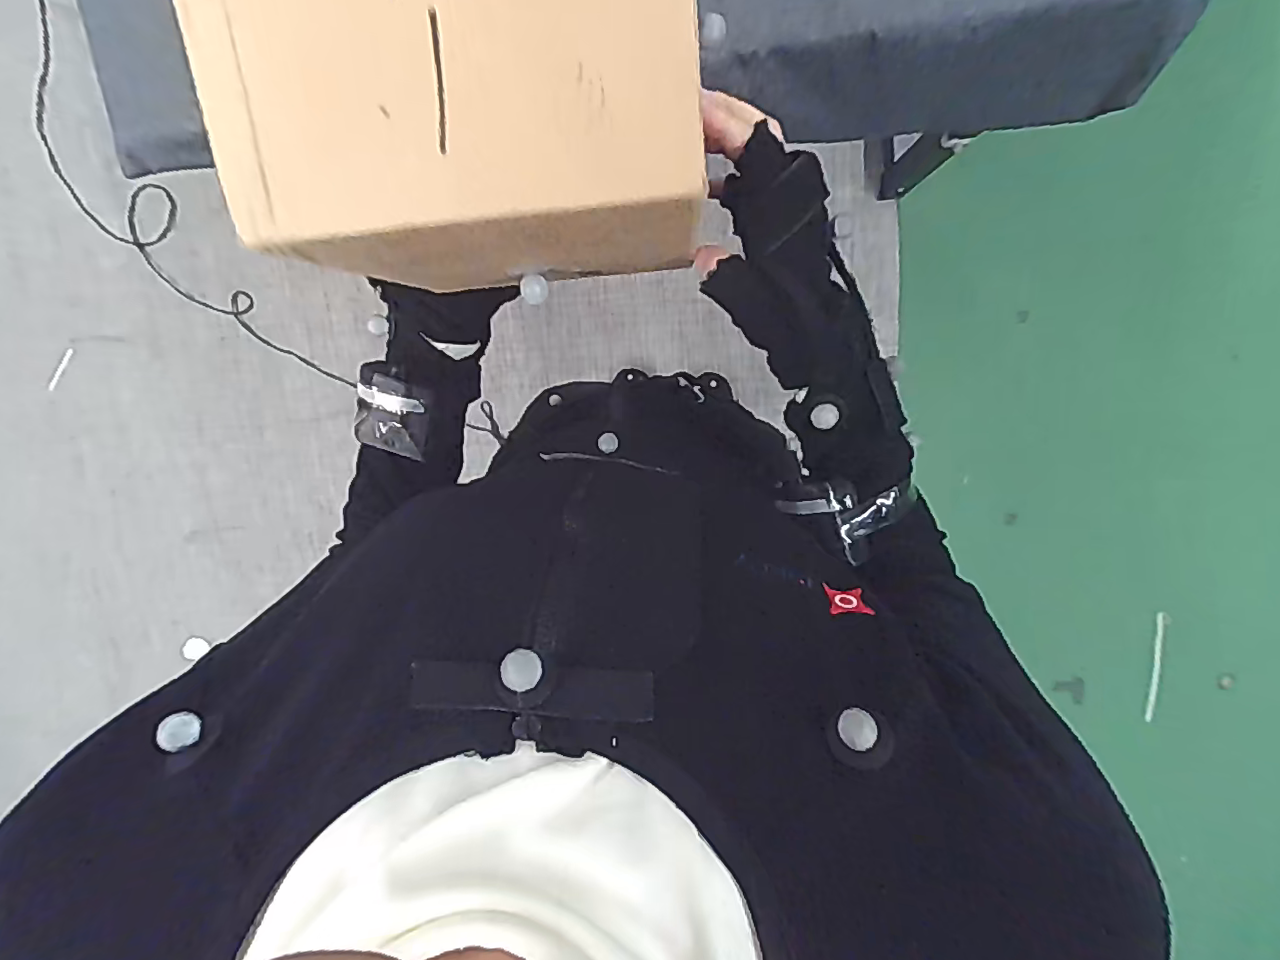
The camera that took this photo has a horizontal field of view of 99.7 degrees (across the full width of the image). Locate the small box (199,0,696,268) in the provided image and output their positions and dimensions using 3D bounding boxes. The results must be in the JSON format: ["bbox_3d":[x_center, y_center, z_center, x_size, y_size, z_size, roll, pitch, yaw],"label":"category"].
[{"bbox_3d":[-0.062,-0.208,0.248,0.168,0.176,0.179,-3,103,5],"label":"small box"}]
